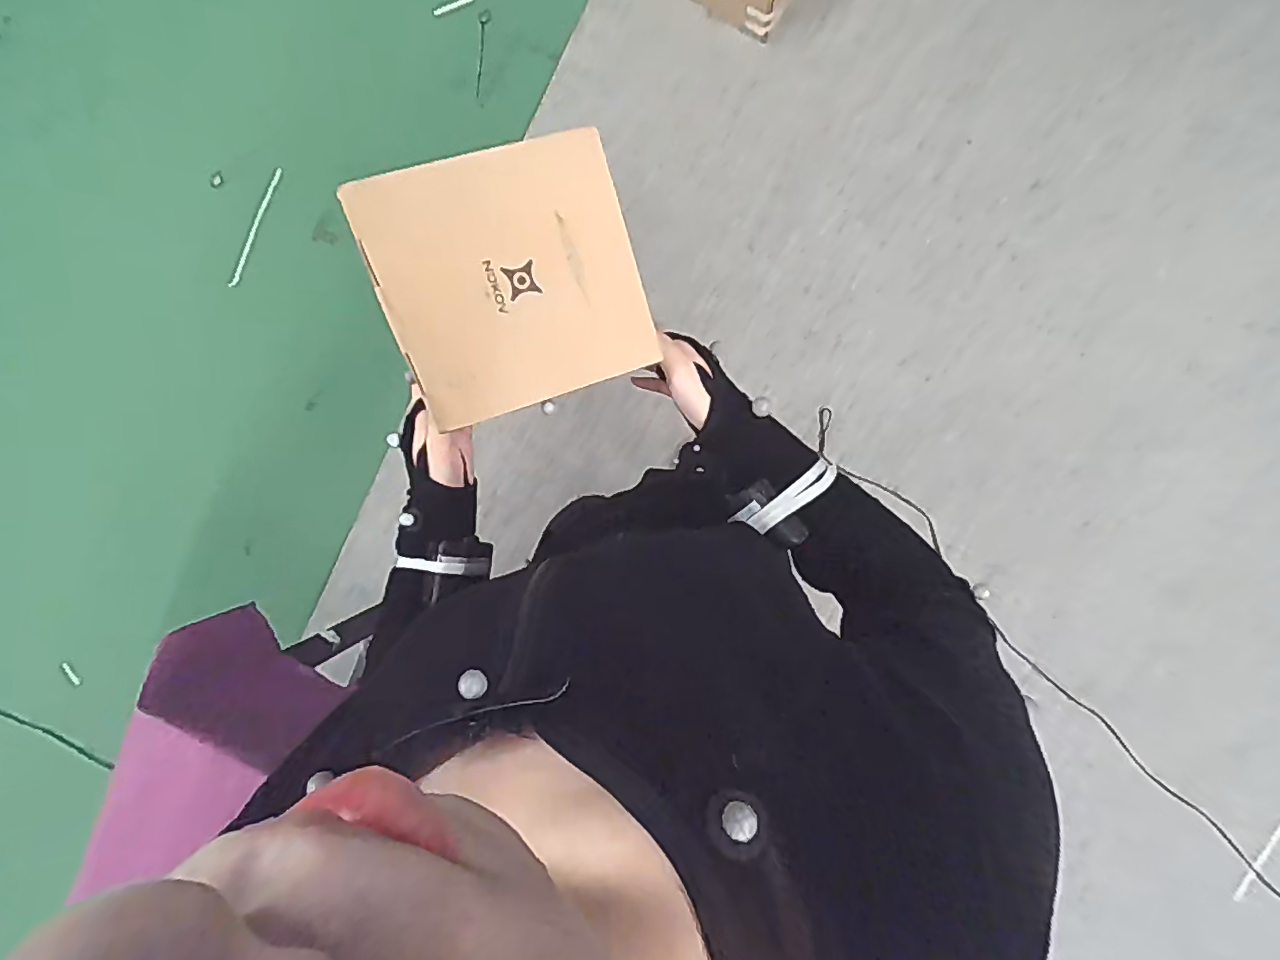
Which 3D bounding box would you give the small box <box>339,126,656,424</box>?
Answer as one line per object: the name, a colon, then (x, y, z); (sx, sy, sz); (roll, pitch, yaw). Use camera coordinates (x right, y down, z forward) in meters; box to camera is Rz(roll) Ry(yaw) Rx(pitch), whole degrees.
small box: (-0.108, -0.154, 0.449); (0.179, 0.176, 0.168); (-20, 106, -11)
